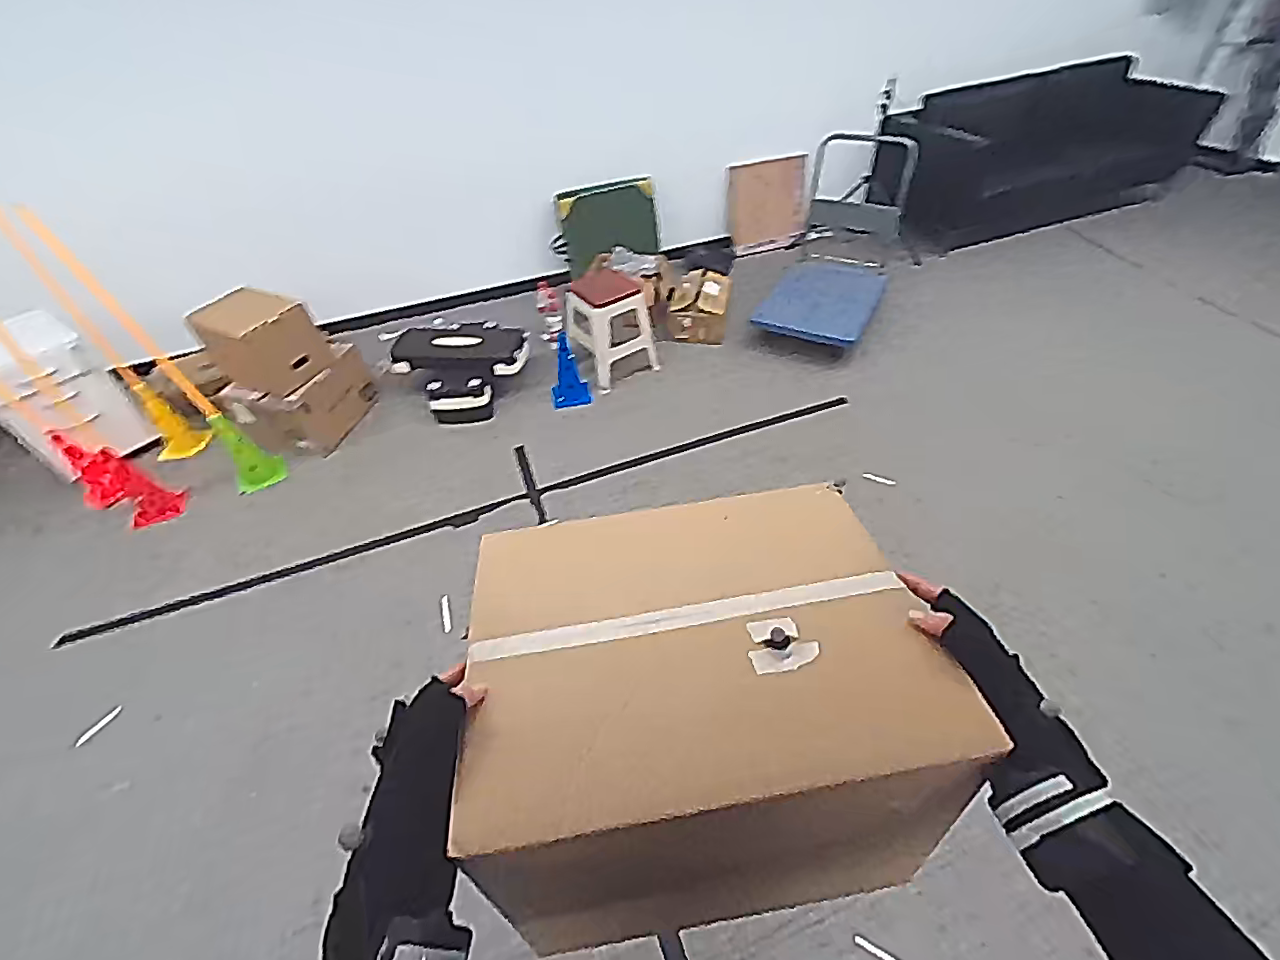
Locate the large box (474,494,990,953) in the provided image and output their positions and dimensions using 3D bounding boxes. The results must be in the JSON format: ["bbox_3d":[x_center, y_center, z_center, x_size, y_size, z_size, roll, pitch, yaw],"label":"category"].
[{"bbox_3d":[0.063,0.255,0.602,0.408,0.320,0.320,-9,39,-4],"label":"large box"}]
